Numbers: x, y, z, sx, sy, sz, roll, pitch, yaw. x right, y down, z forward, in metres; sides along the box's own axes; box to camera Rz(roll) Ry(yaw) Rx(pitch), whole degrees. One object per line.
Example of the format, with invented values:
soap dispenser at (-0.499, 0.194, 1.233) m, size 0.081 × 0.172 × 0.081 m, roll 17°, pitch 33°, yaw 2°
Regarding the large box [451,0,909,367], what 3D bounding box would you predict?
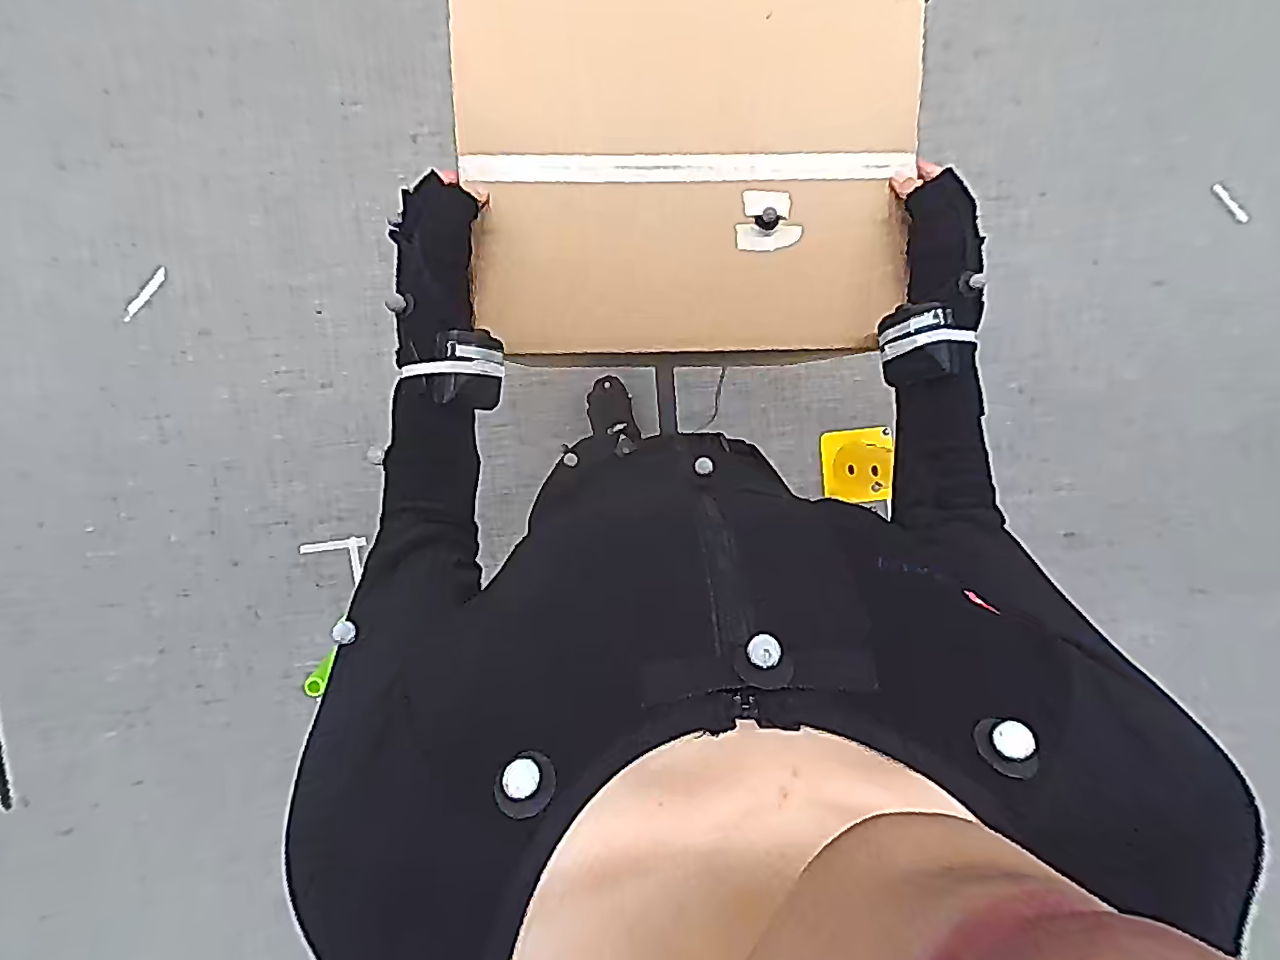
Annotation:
large box at (0.032, -0.303, 0.631) m, size 0.408 × 0.320 × 0.320 m, roll -2°, pitch 100°, yaw -3°
